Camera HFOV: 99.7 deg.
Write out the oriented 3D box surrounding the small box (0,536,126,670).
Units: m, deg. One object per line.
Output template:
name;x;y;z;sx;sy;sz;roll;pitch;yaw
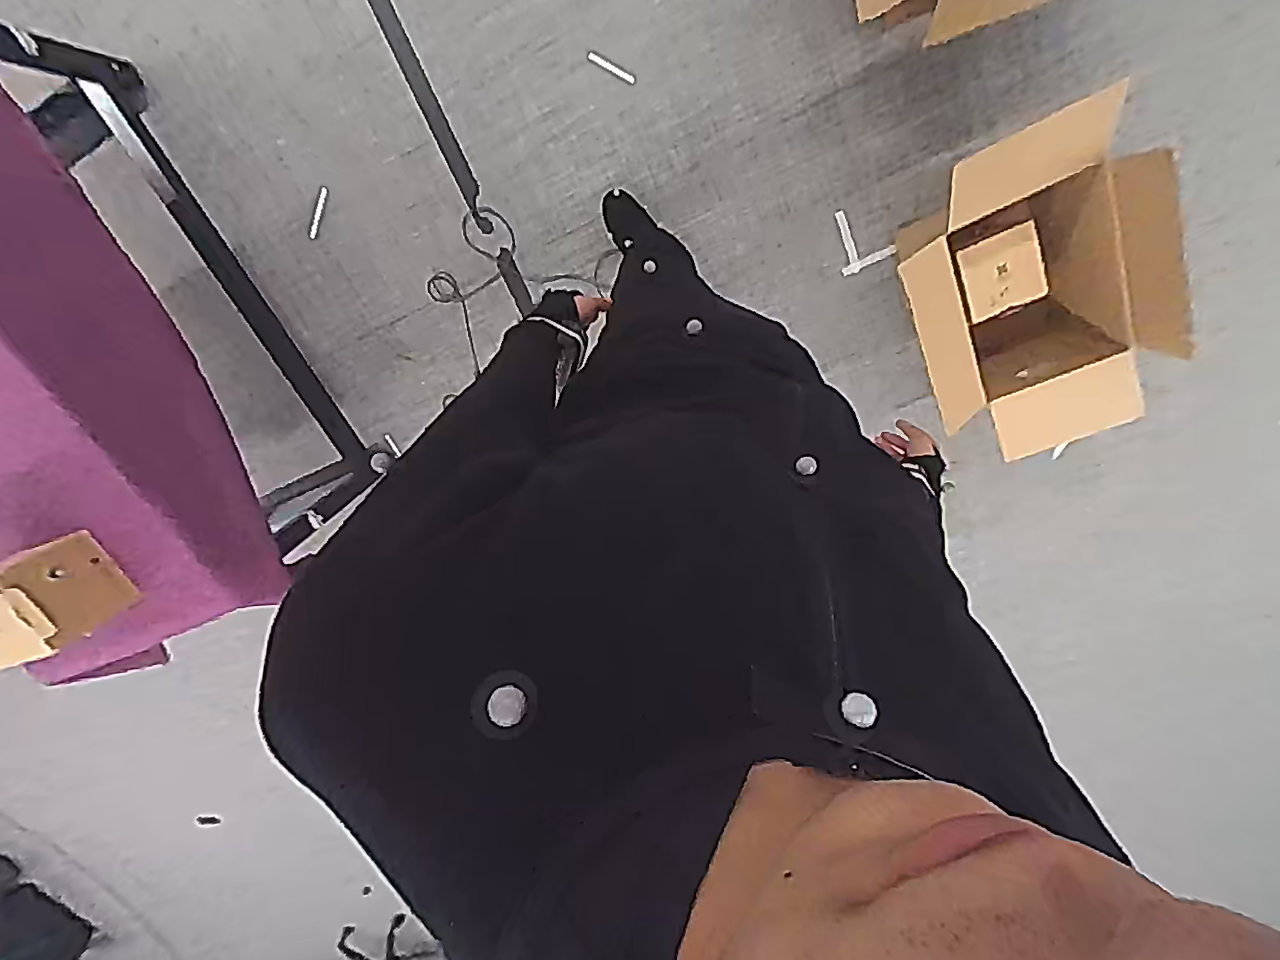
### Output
small box;-1.125;0.225;1.003;0.179;0.176;0.168;-16;111;12
